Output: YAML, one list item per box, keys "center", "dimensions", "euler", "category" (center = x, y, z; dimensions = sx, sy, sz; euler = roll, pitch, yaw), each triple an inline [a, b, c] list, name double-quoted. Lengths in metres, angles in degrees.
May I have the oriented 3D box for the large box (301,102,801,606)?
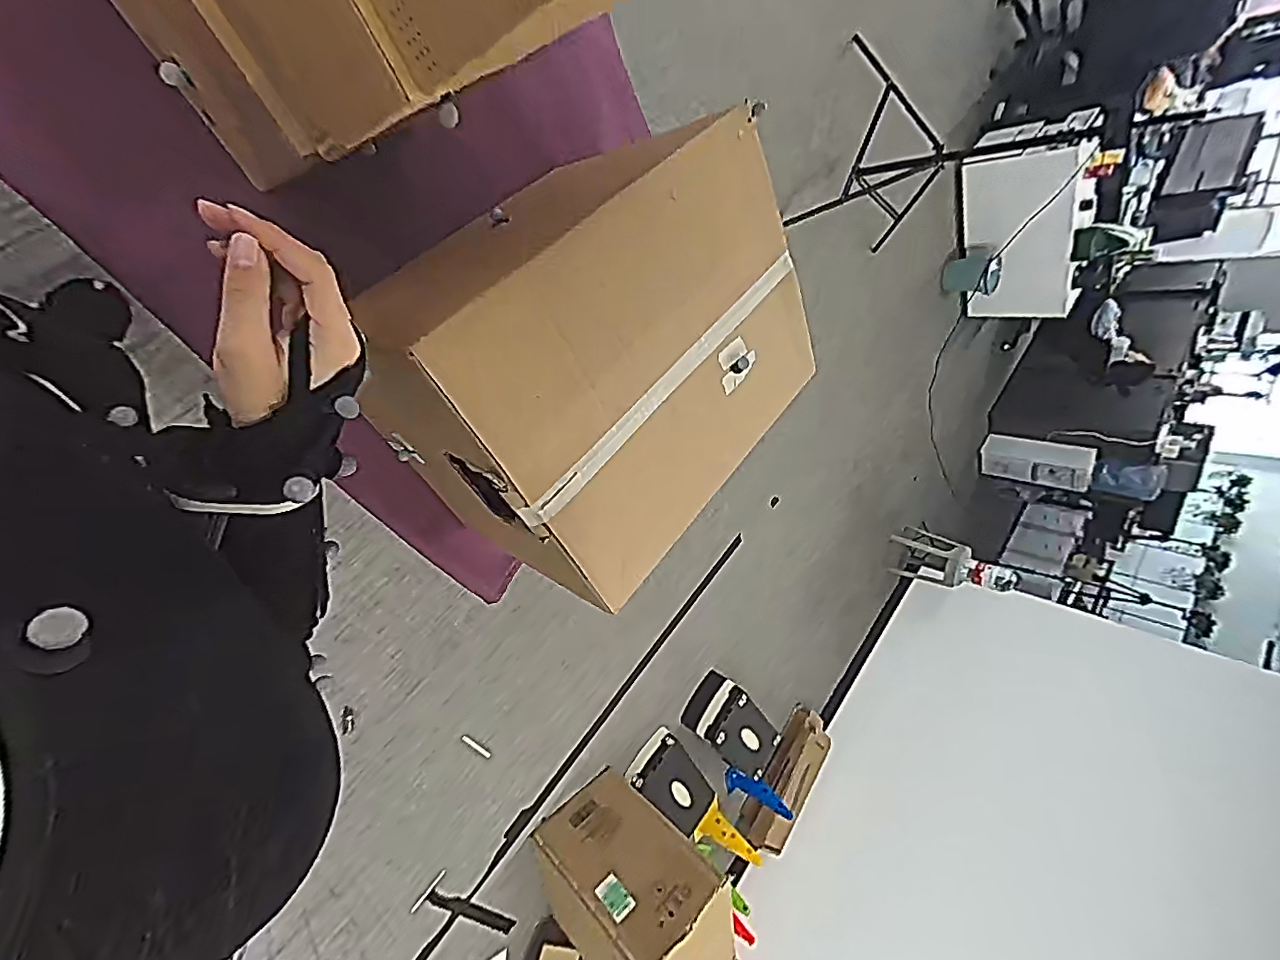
- center: [-0.077, -0.143, 0.622]
  dimensions: [0.408, 0.320, 0.320]
  euler: [-48, 132, -24]
  category: "large box"
